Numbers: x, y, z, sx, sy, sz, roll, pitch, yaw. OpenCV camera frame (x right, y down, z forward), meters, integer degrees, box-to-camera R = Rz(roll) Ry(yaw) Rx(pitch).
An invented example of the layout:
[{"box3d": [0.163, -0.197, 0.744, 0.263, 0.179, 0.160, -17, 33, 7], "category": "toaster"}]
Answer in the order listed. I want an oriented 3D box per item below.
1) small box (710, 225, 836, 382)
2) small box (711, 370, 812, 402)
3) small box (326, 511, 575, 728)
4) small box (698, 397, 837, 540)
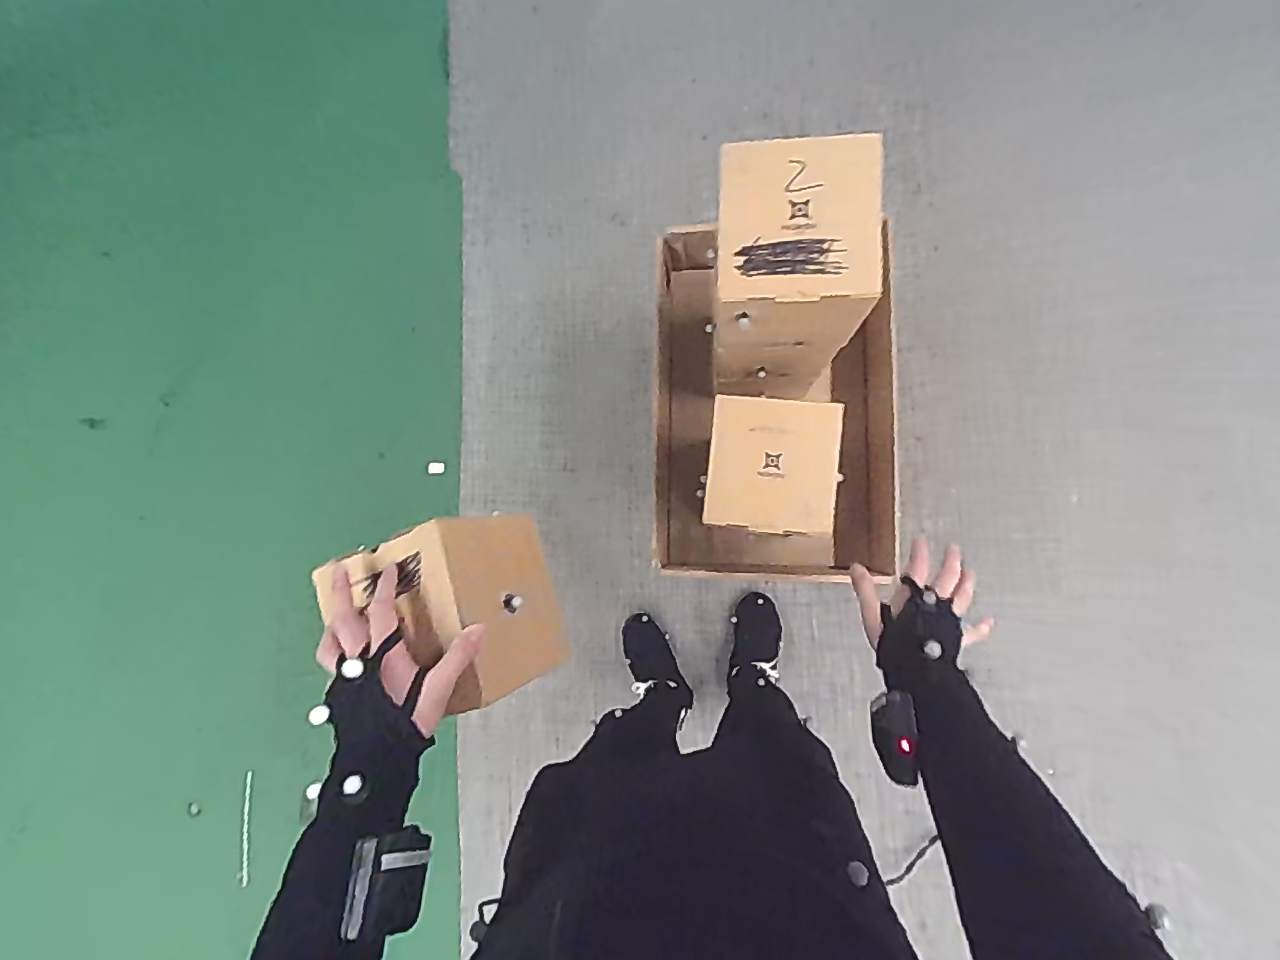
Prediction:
[{"box3d": [0.191, -0.255, 0.815, 0.168, 0.176, 0.179, 0, 87, 8], "category": "small box"}, {"box3d": [0.213, -0.245, 0.975, 0.168, 0.176, 0.179, 0, 86, 9], "category": "small box"}, {"box3d": [-0.193, 0.137, 0.585, 0.168, 0.176, 0.179, -19, 83, 19], "category": "small box"}, {"box3d": [0.179, -0.010, 0.789, 0.168, 0.176, 0.179, 6, 85, 8], "category": "small box"}]
